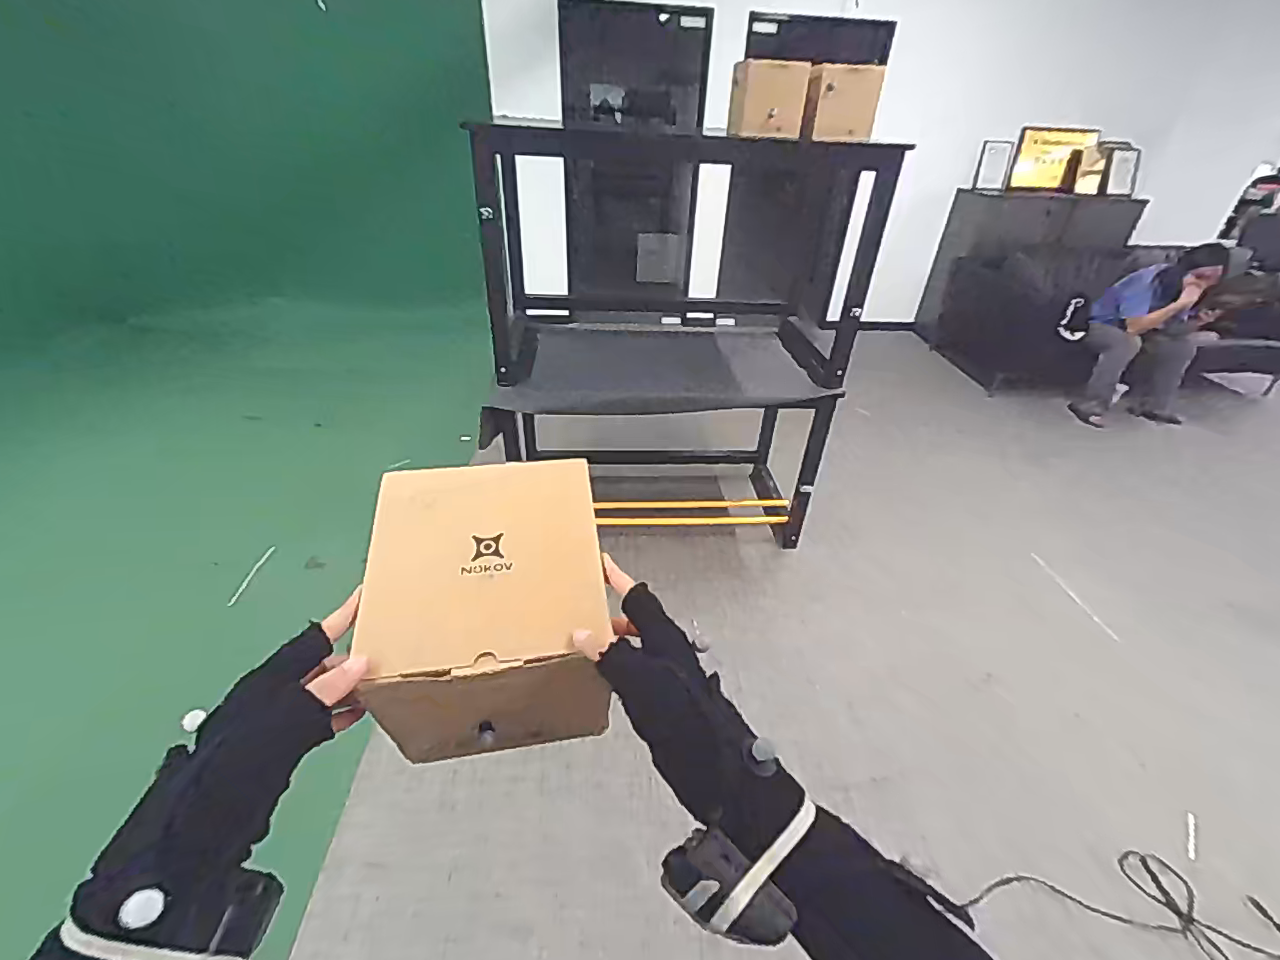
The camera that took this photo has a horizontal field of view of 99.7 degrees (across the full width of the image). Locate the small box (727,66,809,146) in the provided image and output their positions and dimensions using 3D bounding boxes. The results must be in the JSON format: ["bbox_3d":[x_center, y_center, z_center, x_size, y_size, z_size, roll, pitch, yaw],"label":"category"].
[{"bbox_3d":[0.347,-1.039,1.509,0.168,0.176,0.179,-1,34,-6],"label":"small box"}]
